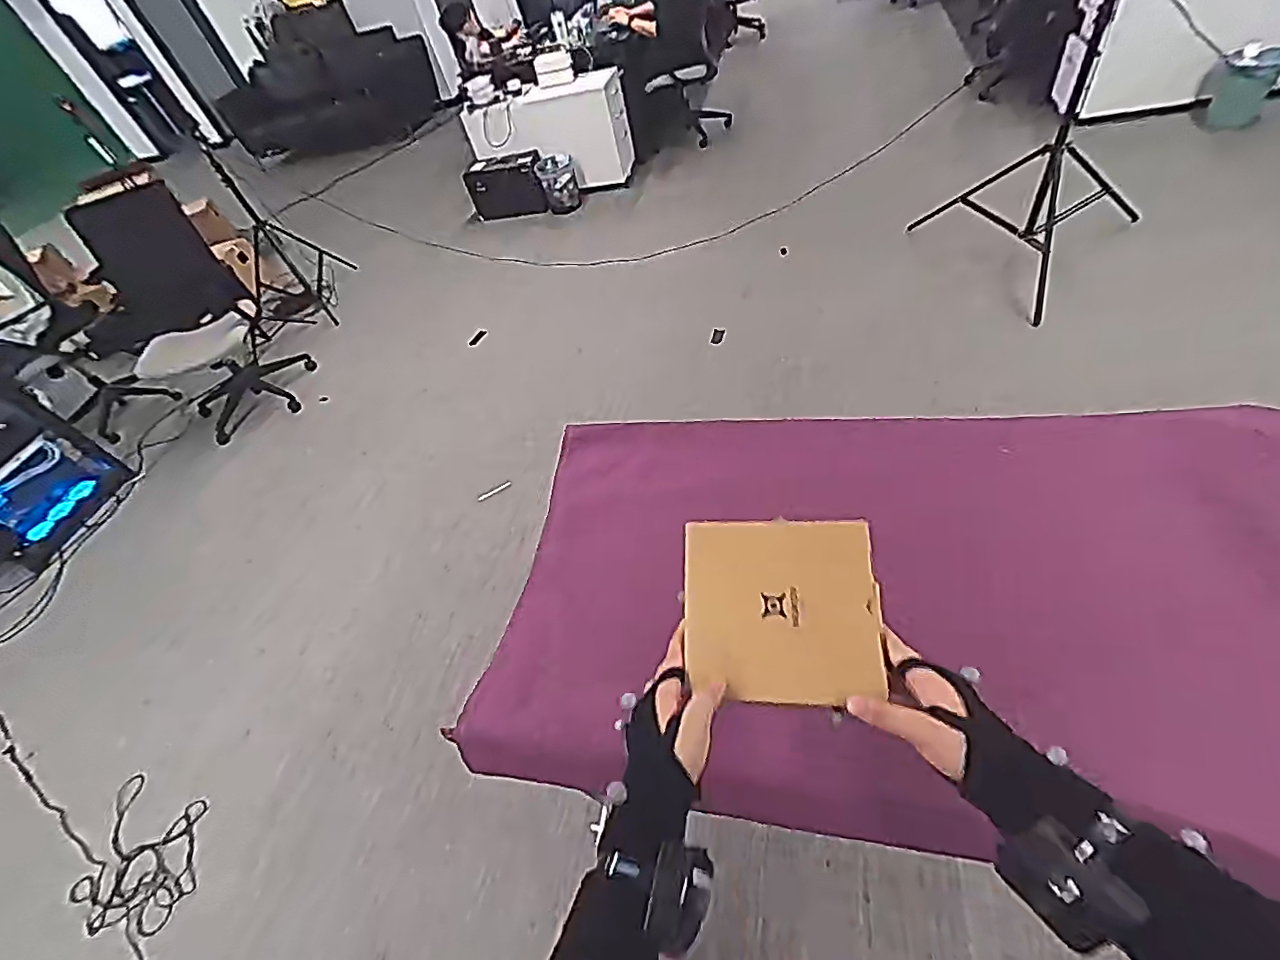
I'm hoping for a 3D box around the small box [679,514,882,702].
[{"bbox_3d":[0.138,0.142,0.575,0.179,0.176,0.168,-2,66,9],"label":"small box"}]
